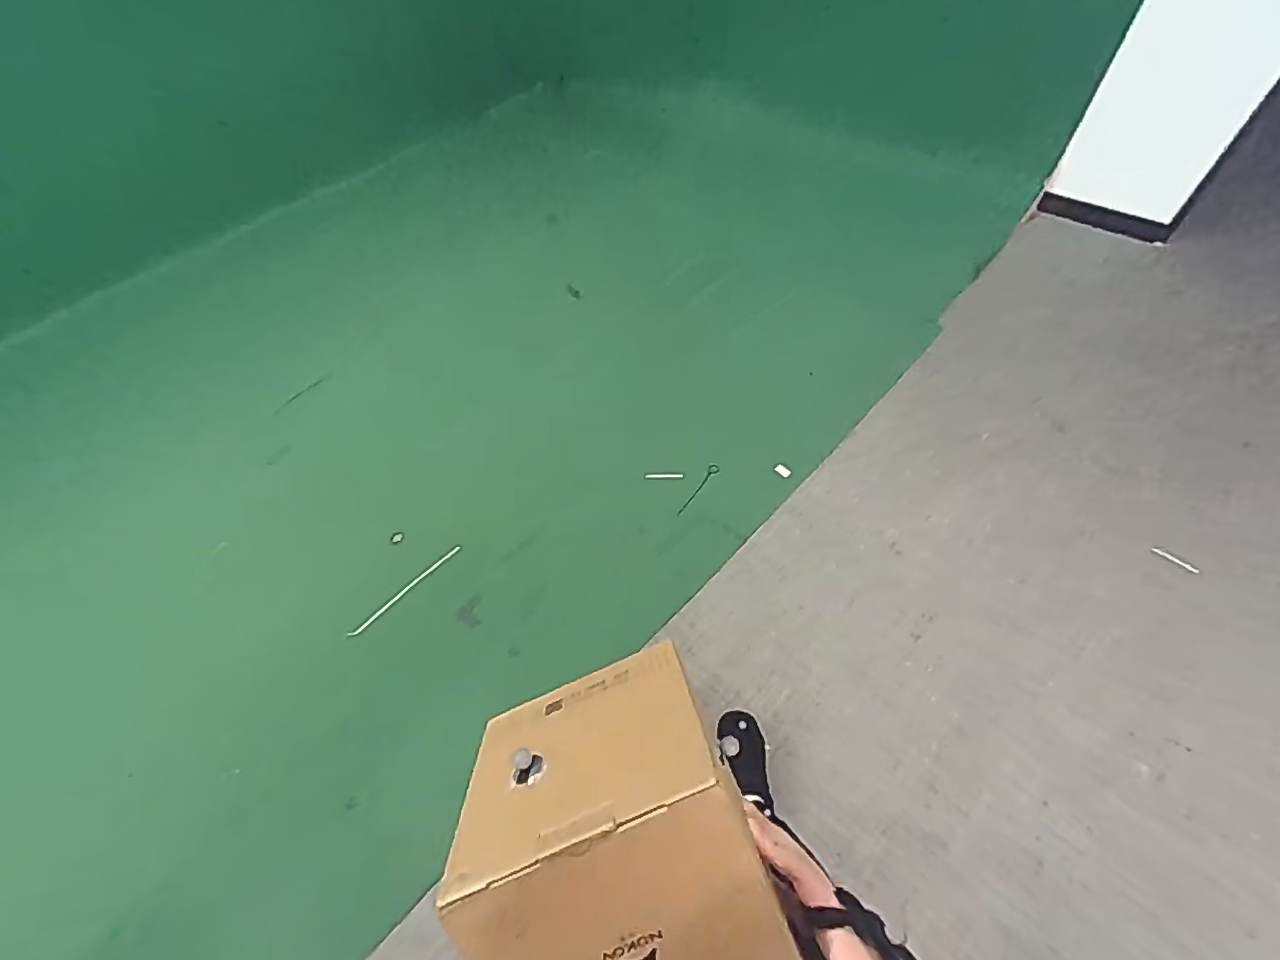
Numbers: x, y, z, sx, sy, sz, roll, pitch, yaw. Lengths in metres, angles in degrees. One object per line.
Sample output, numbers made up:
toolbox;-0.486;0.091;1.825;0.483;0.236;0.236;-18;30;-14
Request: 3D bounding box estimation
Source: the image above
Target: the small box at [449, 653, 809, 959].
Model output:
small box;-0.007;0.249;0.386;0.168;0.176;0.179;-23;100;-1
